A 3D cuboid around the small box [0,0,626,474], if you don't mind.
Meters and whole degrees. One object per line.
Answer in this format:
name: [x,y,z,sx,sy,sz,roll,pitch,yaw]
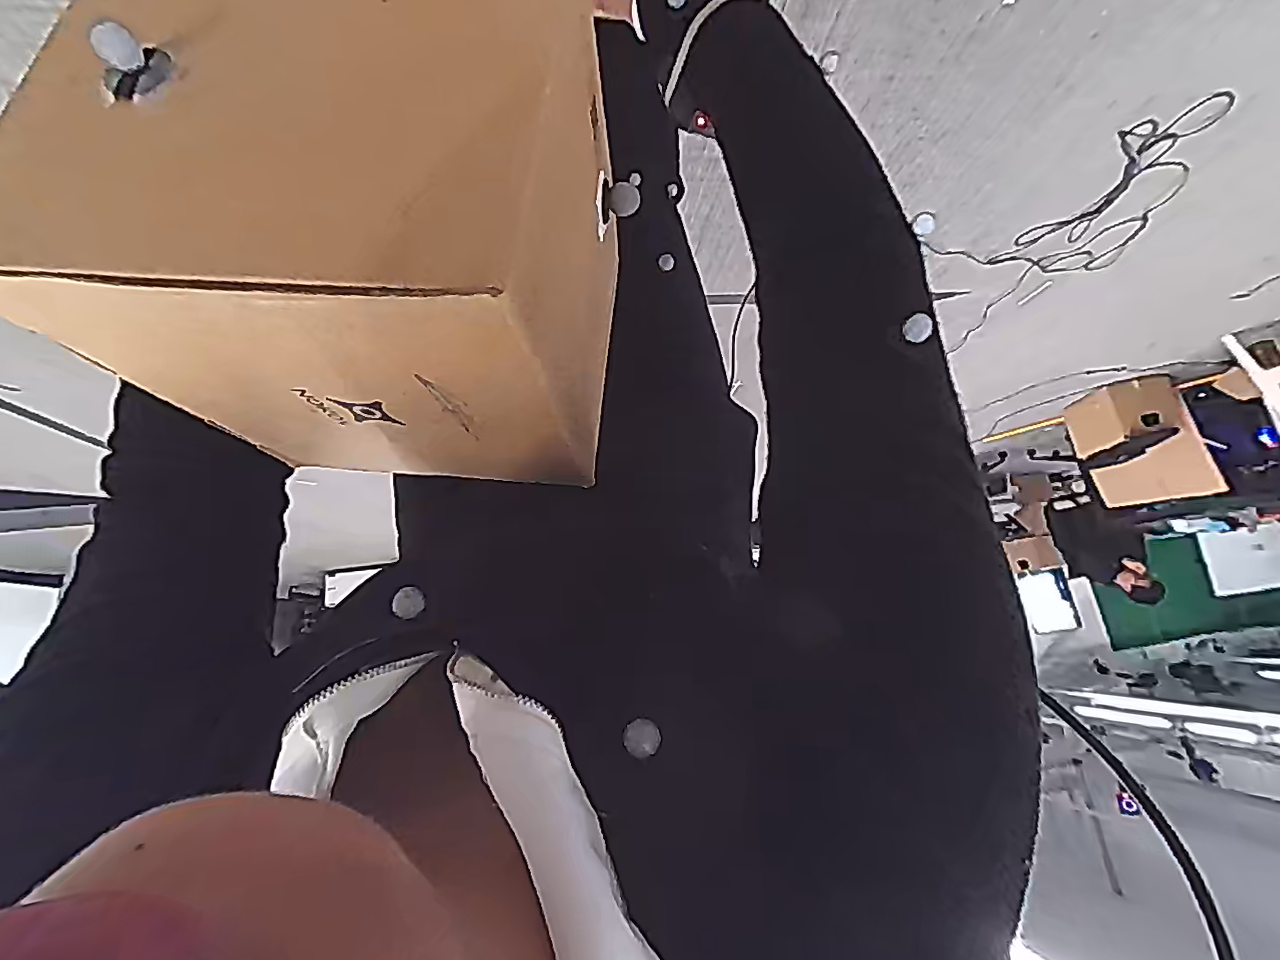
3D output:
small box: [-0.106,-0.113,0.258,0.179,0.176,0.168,3,163,5]
